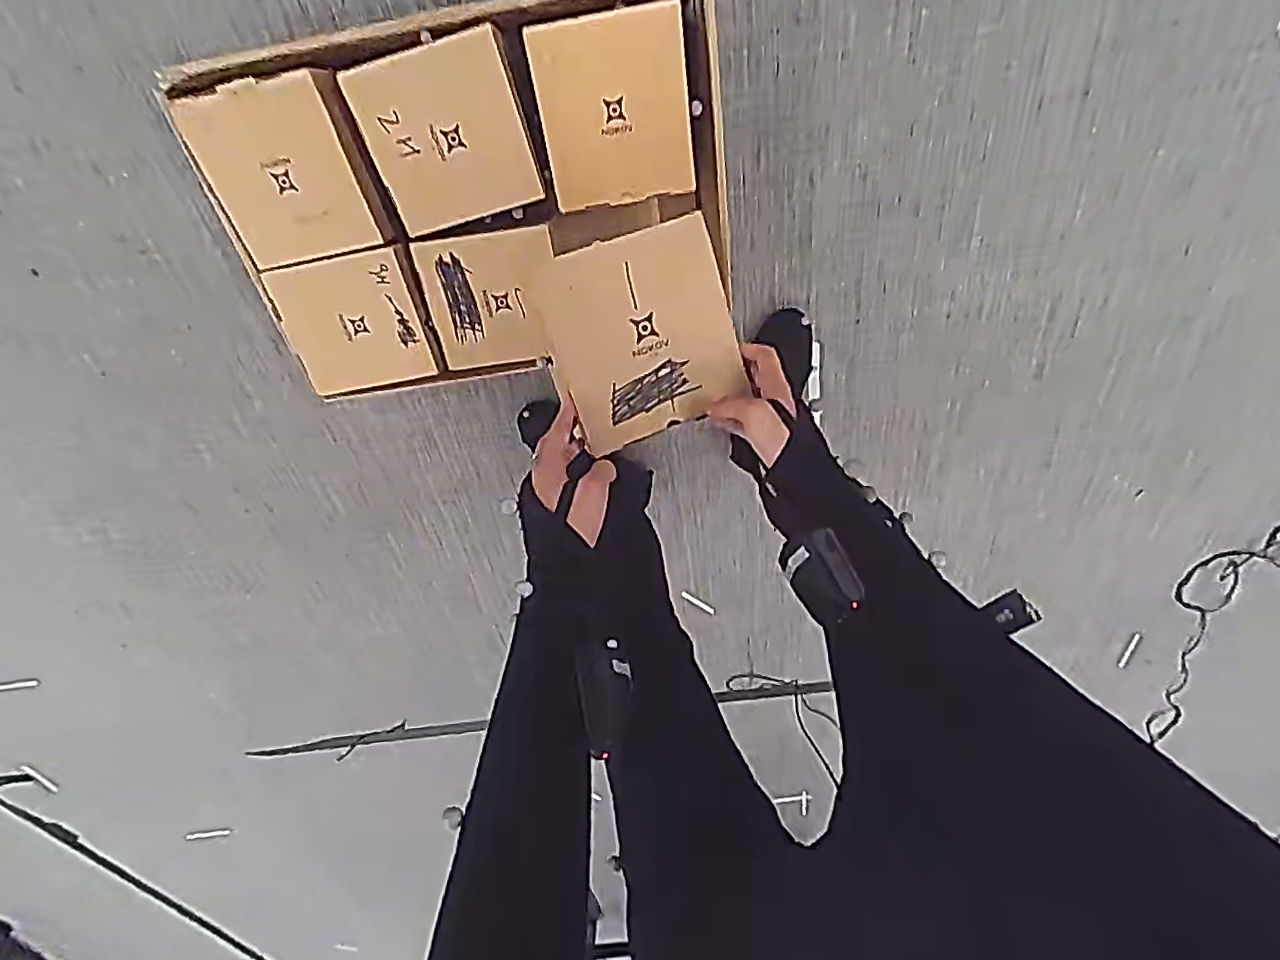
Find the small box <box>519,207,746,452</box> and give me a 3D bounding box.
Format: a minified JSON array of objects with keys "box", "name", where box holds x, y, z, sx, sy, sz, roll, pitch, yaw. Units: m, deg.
[{"box":[-0.016,-0.148,0.554,0.168,0.176,0.179,-22,106,-8],"name":"small box"}]
